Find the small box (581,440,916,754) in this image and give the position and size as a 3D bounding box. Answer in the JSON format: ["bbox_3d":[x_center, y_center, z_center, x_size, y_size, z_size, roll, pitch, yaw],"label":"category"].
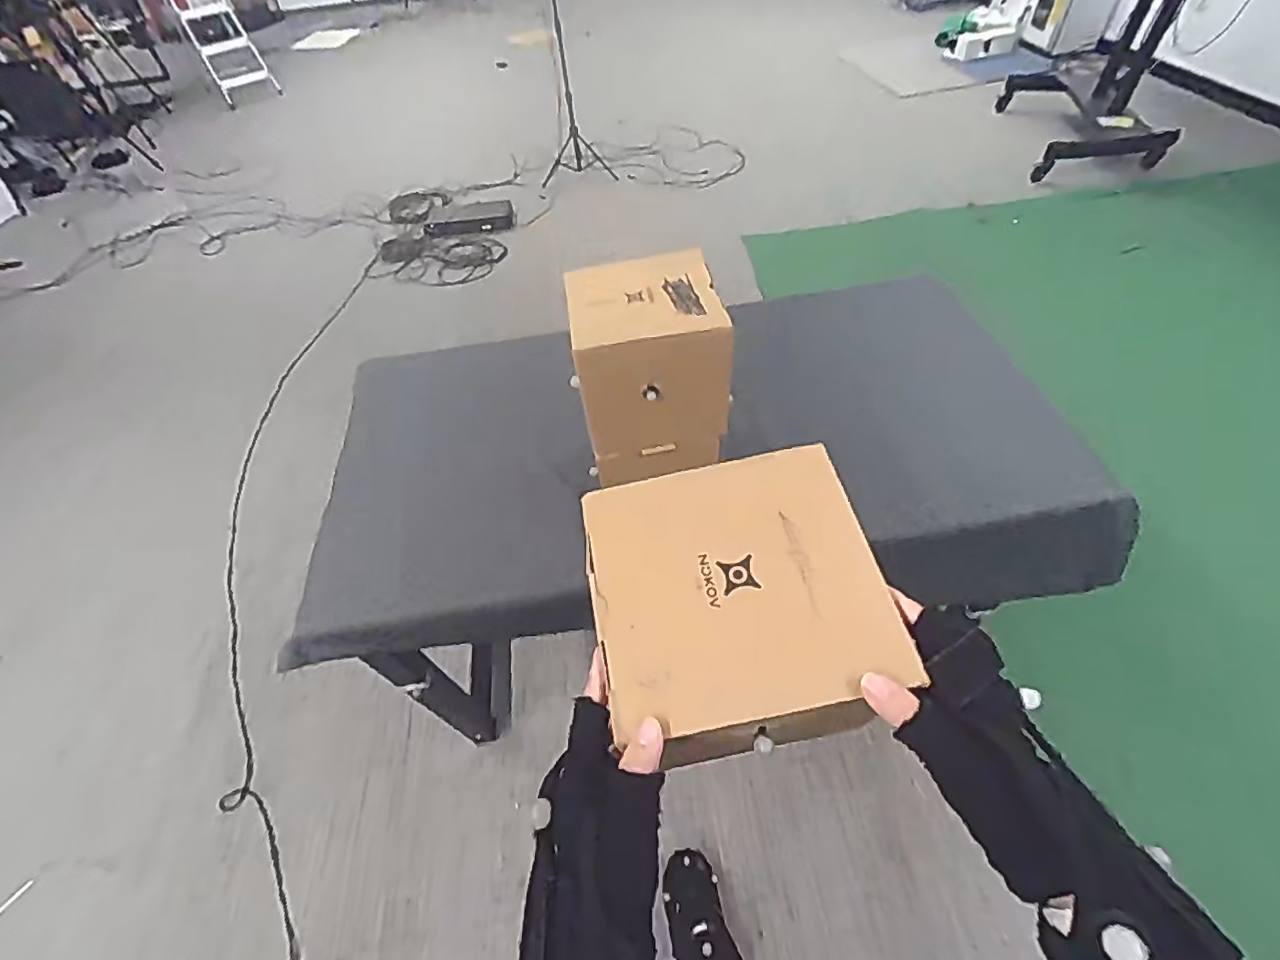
[{"bbox_3d":[0.064,0.097,0.408,0.179,0.176,0.168,-12,59,-1],"label":"small box"}]

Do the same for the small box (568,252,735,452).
[{"bbox_3d":[0.012,-0.157,0.683,0.179,0.176,0.168,-9,52,-1],"label":"small box"}]

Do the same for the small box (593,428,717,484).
[{"bbox_3d":[0.017,-0.057,0.814,0.168,0.176,0.179,-10,52,-2],"label":"small box"}]
